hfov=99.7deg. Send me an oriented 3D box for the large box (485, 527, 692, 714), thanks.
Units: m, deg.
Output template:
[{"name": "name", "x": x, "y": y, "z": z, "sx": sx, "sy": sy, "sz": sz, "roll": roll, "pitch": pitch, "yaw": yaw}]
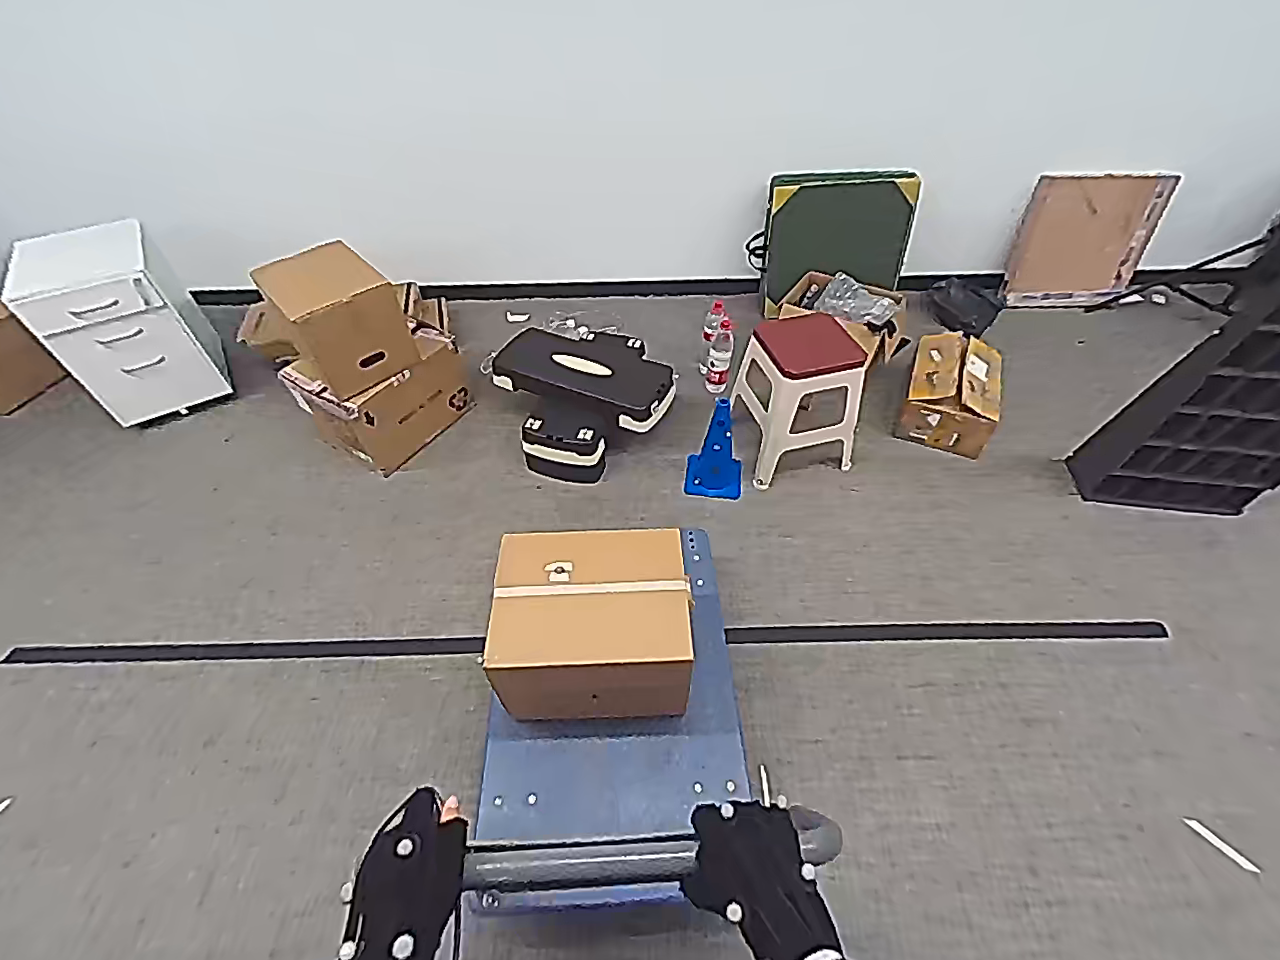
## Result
[{"name": "large box", "x": -0.102, "y": 0.329, "z": 1.244, "sx": 0.408, "sy": 0.320, "sz": 0.320, "roll": -2, "pitch": 48, "yaw": -1}]
